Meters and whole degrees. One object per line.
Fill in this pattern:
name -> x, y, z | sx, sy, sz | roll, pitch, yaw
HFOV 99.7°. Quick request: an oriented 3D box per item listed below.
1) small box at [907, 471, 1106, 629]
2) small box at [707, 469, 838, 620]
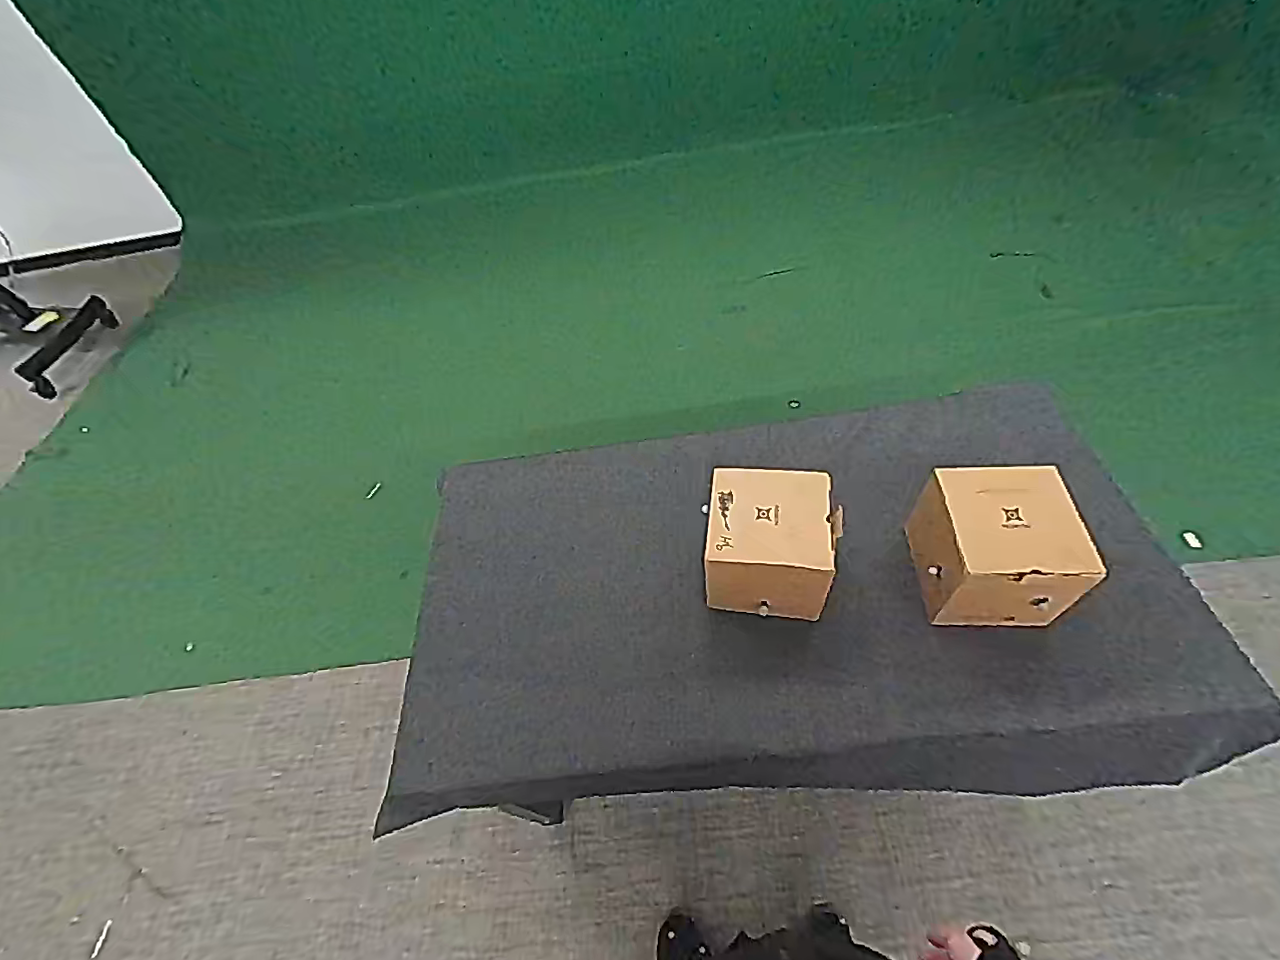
small box -> 0.514, 0.105, 0.792 | 0.168, 0.176, 0.179 | 0, 51, 7
small box -> 0.200, 0.103, 0.842 | 0.179, 0.176, 0.168 | 5, 53, 11
